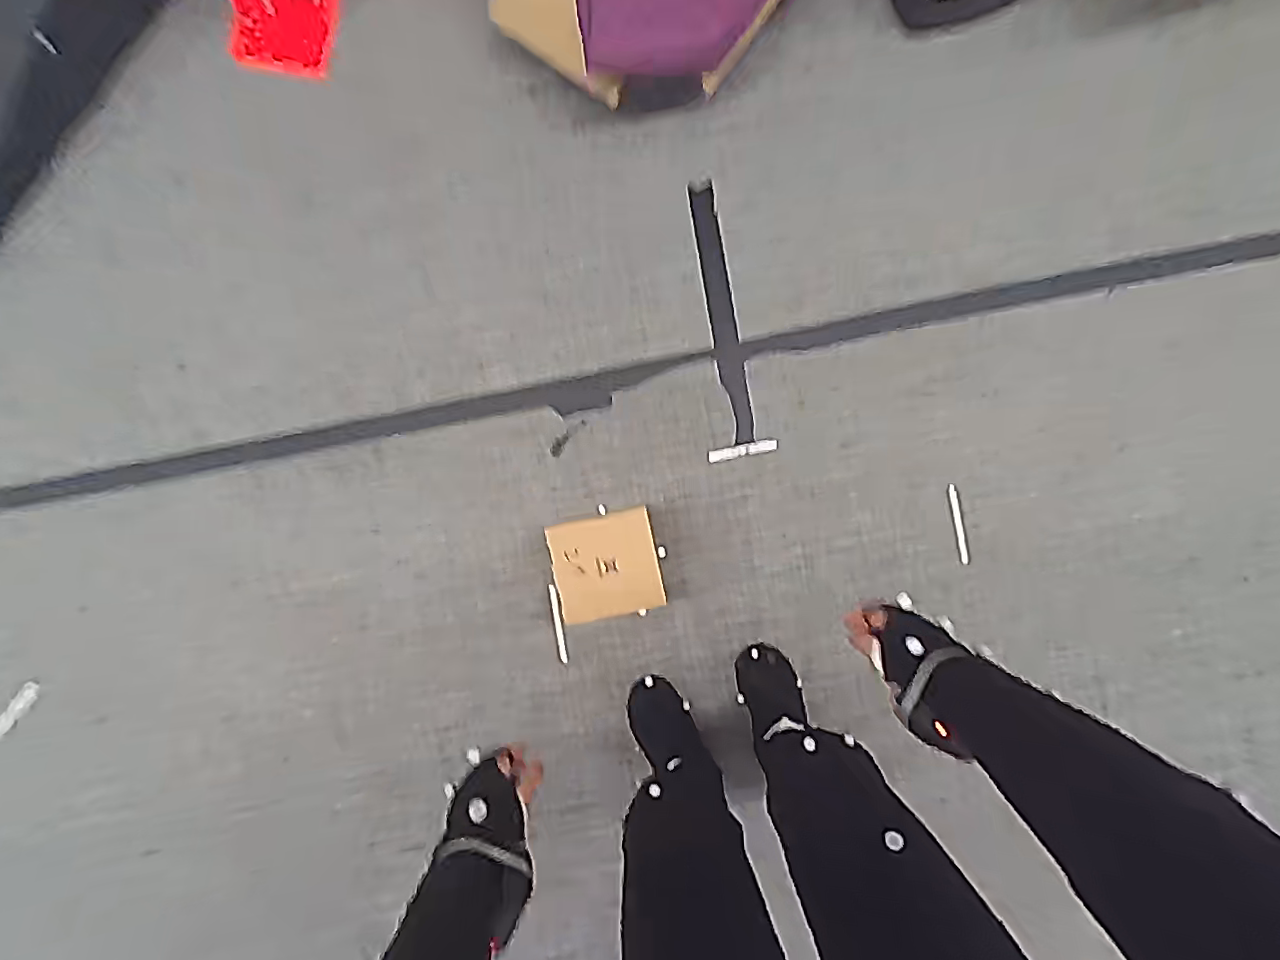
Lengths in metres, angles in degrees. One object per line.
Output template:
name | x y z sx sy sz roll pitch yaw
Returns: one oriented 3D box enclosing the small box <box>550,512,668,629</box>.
small box | -0.052 0.155 0.982 0.179 0.176 0.168 -12 88 1
